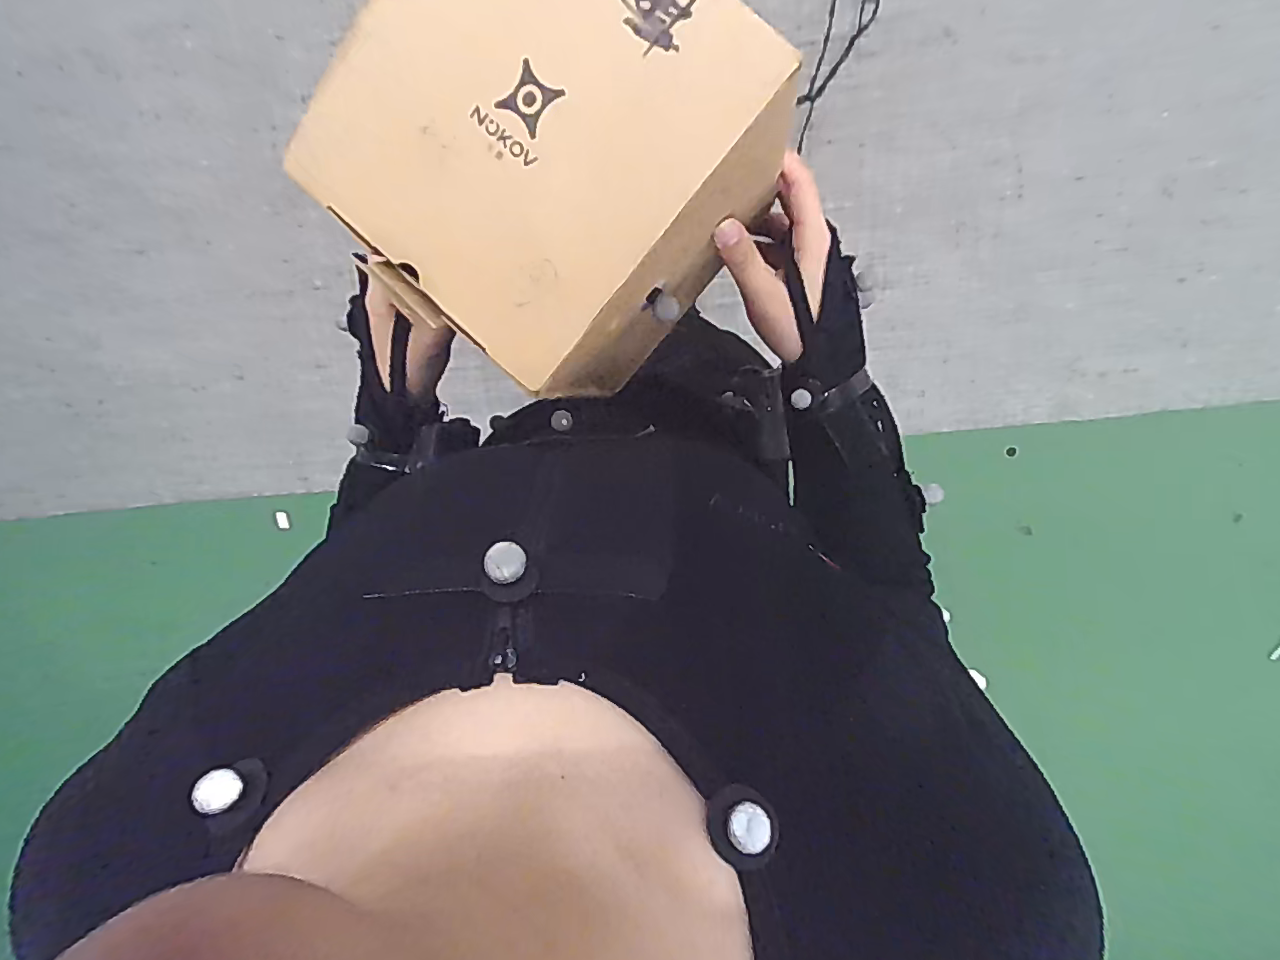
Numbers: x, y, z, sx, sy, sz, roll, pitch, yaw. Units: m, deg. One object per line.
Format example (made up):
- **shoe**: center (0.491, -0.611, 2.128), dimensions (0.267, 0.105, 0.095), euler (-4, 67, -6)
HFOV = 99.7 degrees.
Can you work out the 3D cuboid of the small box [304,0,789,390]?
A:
- **small box**: center (-0.036, -0.170, 0.316), dimensions (0.168, 0.176, 0.179), euler (42, 104, 1)
